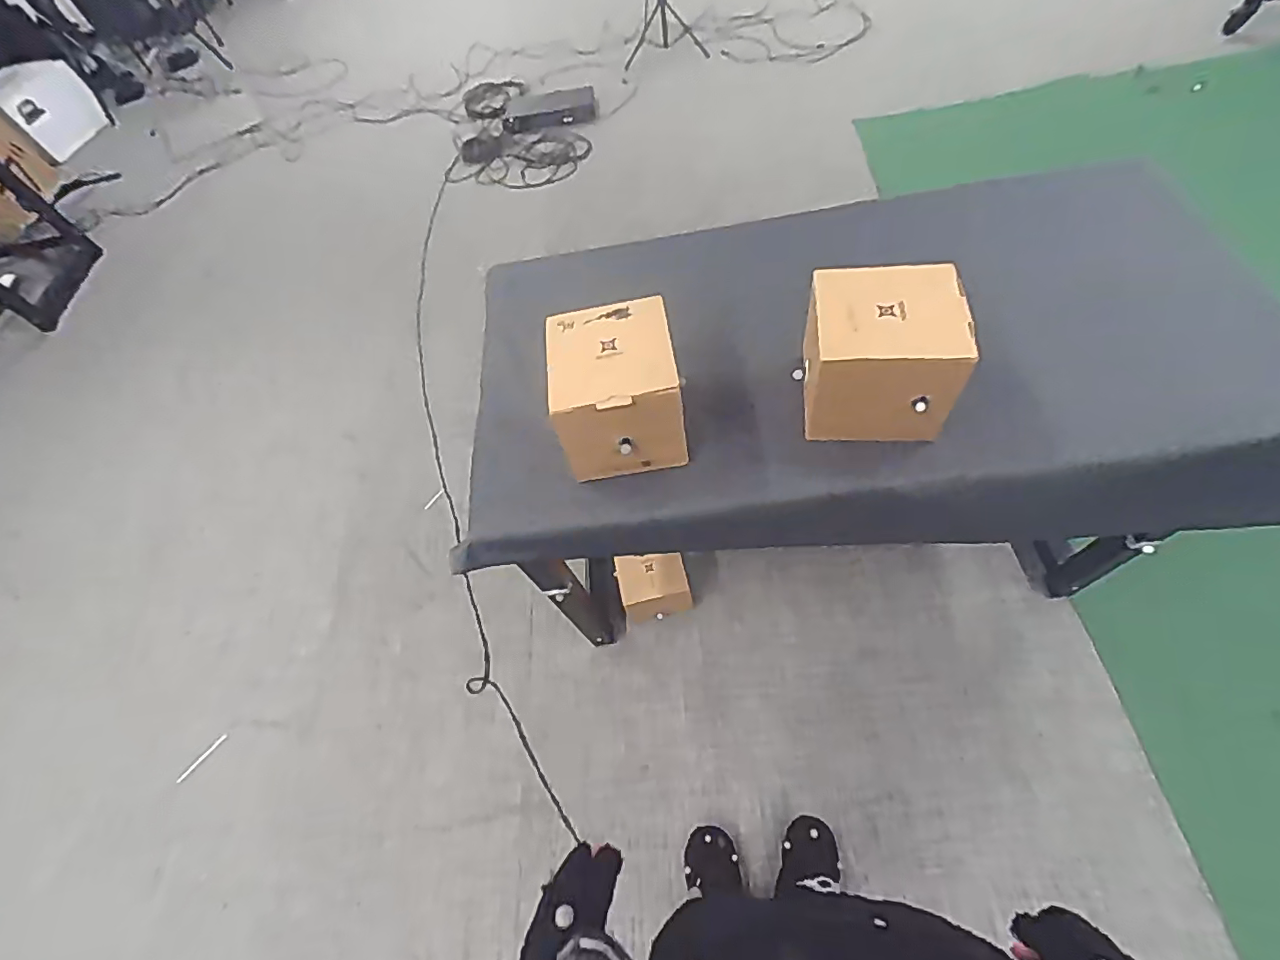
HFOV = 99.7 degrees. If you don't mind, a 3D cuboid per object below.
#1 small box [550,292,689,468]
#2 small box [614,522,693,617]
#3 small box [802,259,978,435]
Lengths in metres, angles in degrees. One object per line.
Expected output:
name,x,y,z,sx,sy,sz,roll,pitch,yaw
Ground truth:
small box,-0.025,-0.132,0.772,0.168,0.176,0.179,-10,58,3
small box,0.038,0.235,1.402,0.168,0.176,0.179,-14,60,2
small box,0.323,-0.174,0.740,0.179,0.176,0.168,0,59,11
